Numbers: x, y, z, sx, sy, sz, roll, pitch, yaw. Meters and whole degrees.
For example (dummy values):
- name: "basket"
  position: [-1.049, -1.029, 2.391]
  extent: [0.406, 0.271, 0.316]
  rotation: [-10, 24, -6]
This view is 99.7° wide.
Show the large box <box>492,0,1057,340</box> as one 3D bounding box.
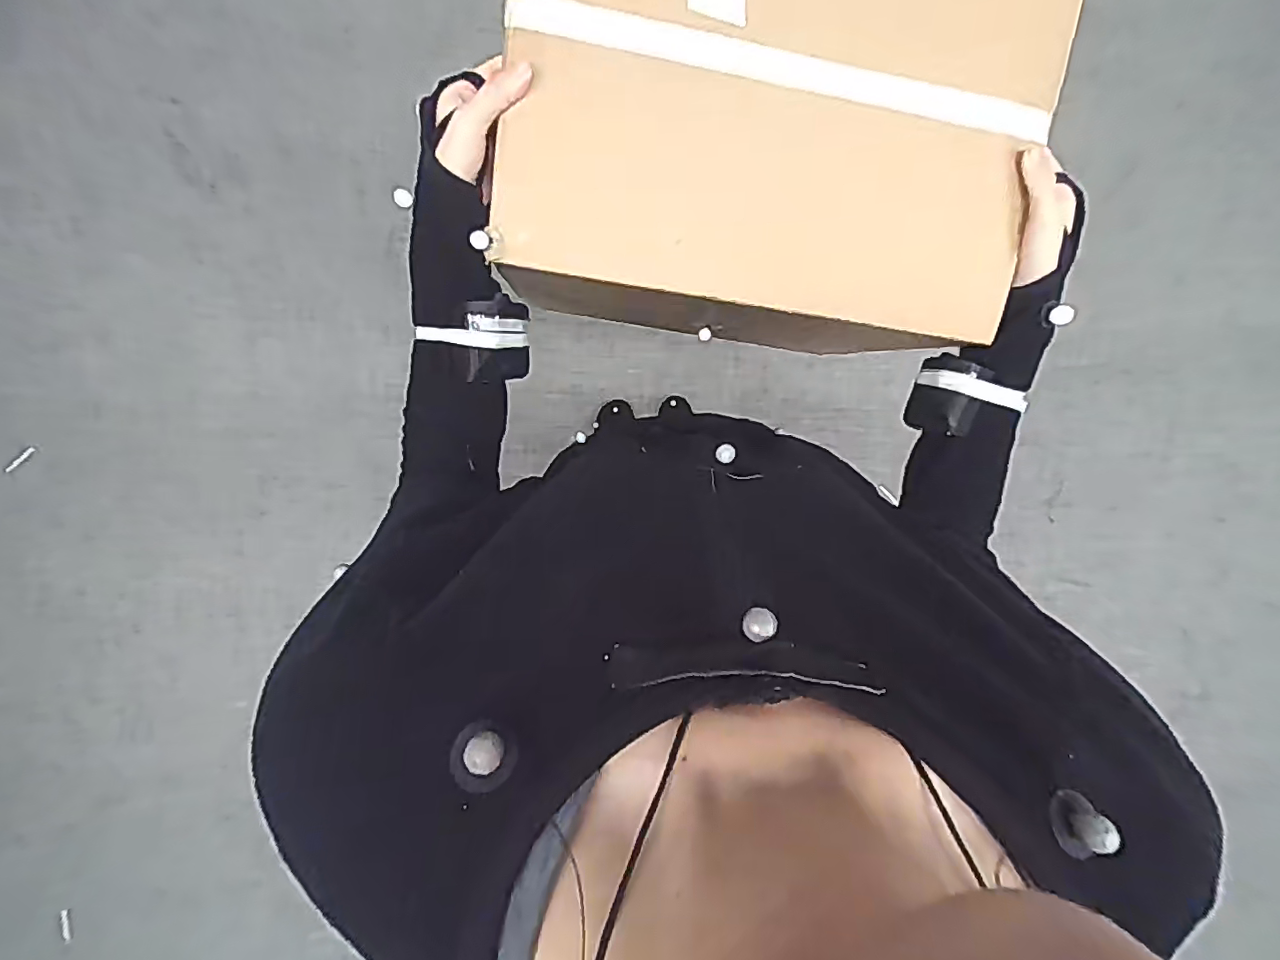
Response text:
- name: "large box"
  position: [0.090, -0.323, 0.545]
  extent: [0.408, 0.320, 0.320]
  rotation: [7, 101, -7]
